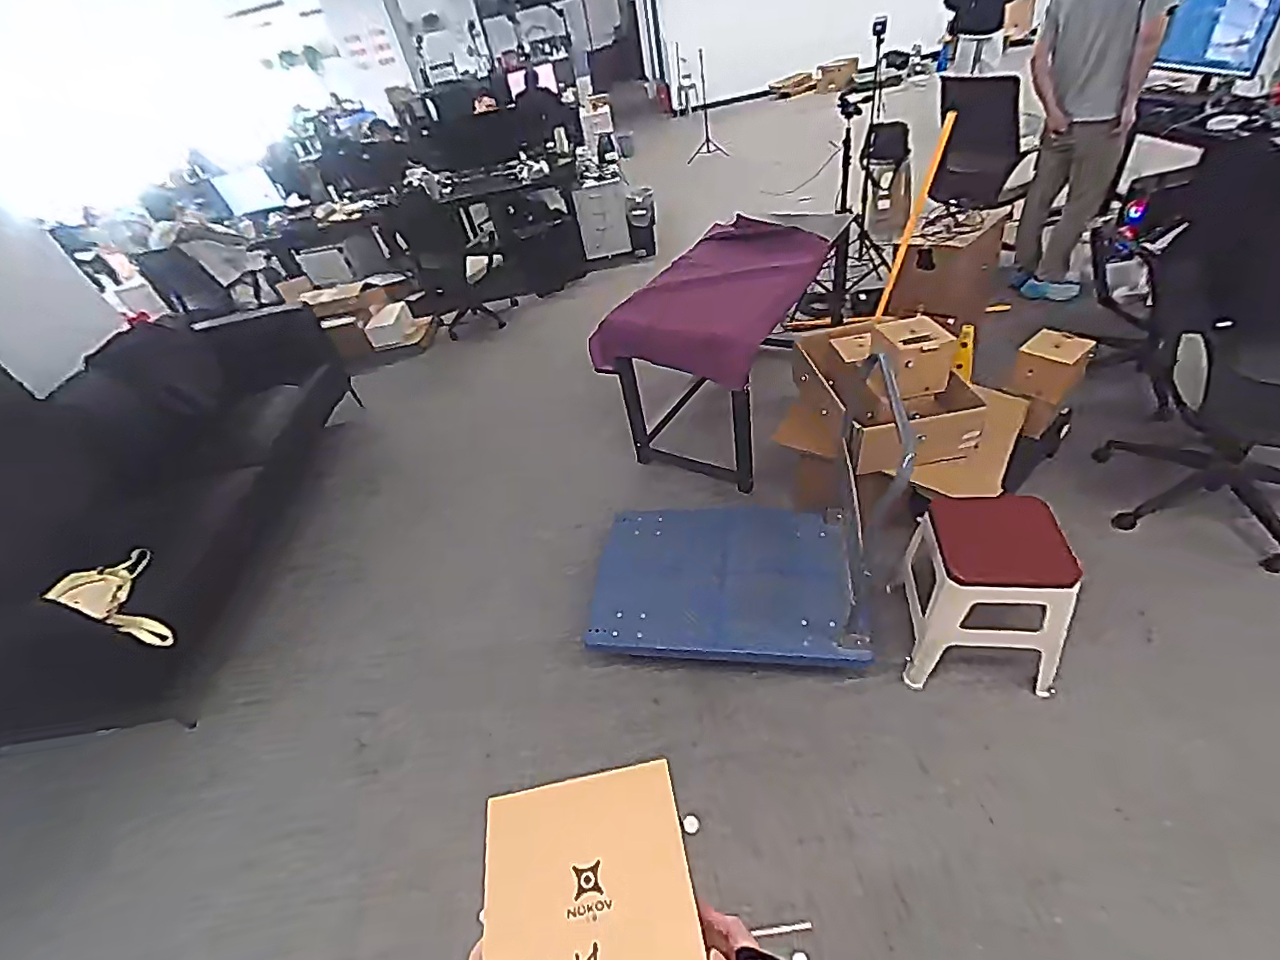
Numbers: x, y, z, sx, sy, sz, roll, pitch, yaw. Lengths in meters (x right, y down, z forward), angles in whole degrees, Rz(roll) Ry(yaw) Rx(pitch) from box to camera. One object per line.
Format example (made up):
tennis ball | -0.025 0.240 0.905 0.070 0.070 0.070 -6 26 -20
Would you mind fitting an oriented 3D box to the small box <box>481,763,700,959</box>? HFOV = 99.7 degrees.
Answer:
small box | -0.038 0.390 0.488 0.168 0.176 0.179 -9 41 -3
